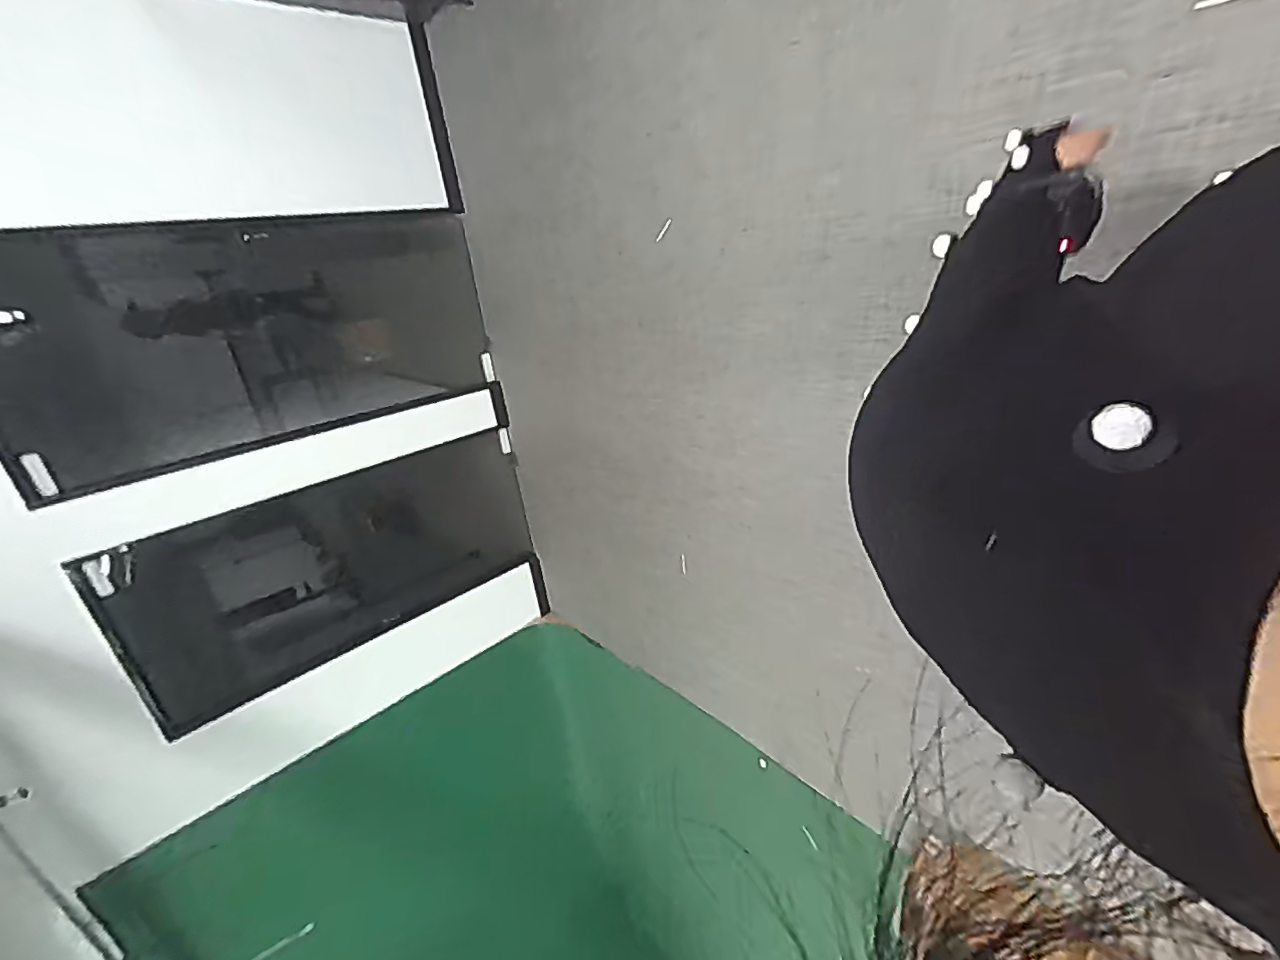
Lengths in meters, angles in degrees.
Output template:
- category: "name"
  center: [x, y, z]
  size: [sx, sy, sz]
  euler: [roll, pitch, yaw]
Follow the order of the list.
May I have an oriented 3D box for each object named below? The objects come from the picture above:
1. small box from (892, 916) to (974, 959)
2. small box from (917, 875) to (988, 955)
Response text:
- category: "small box"
  center: [0.937, 1.565, 1.745]
  size: [0.179, 0.176, 0.168]
  euler: [28, 129, 38]
- category: "small box"
  center: [1.057, 1.516, 1.847]
  size: [0.168, 0.176, 0.179]
  euler: [27, 127, 39]
